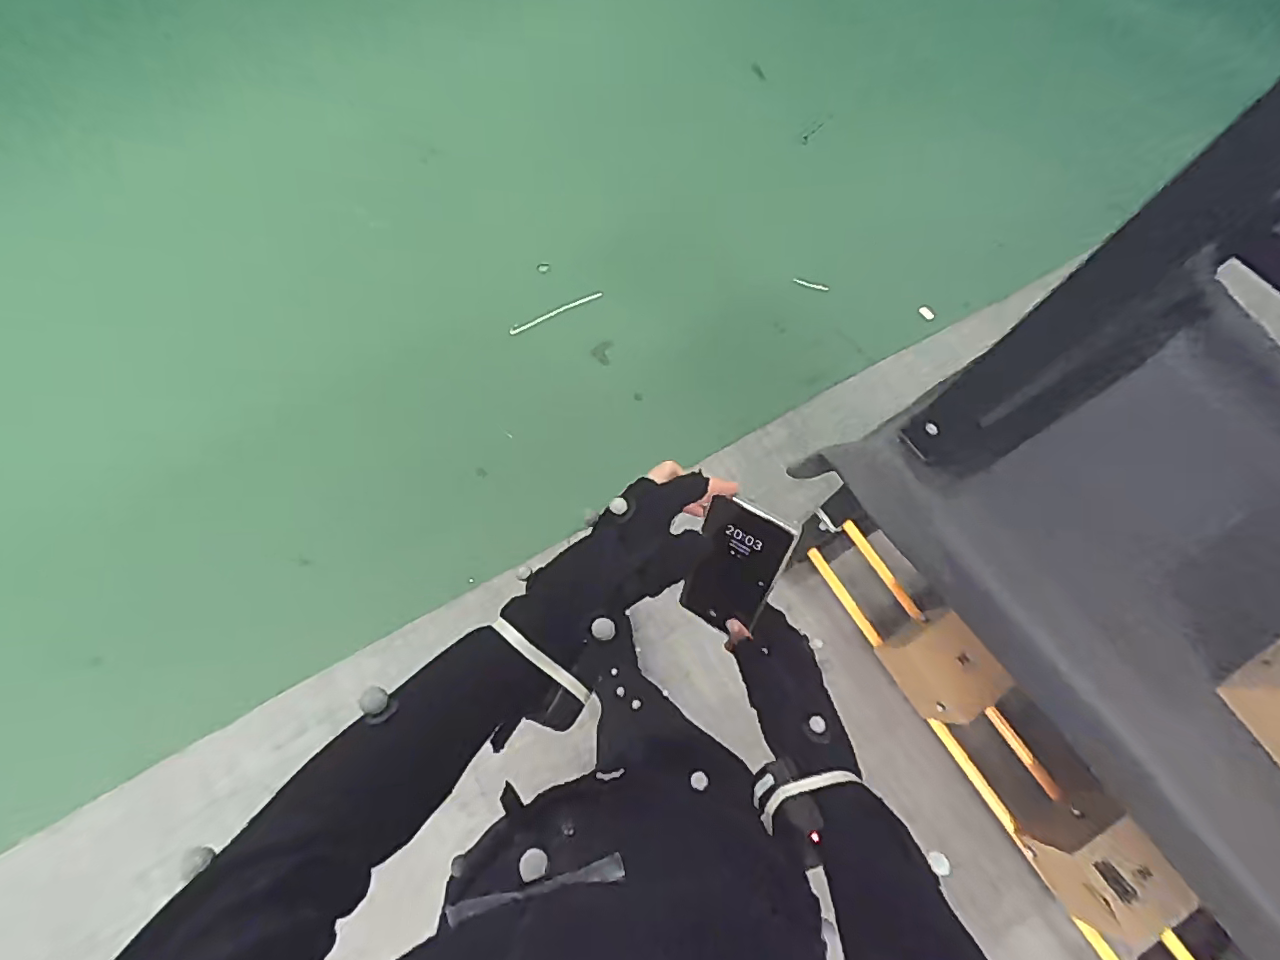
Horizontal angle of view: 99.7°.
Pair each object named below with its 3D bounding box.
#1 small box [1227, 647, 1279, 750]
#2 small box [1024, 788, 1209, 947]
[{"bbox_3d":[0.787,0.246,0.547,0.168,0.176,0.179,-27,71,-11],"label":"small box"},{"bbox_3d":[0.885,0.723,1.032,0.179,0.176,0.168,-27,72,-11],"label":"small box"}]
